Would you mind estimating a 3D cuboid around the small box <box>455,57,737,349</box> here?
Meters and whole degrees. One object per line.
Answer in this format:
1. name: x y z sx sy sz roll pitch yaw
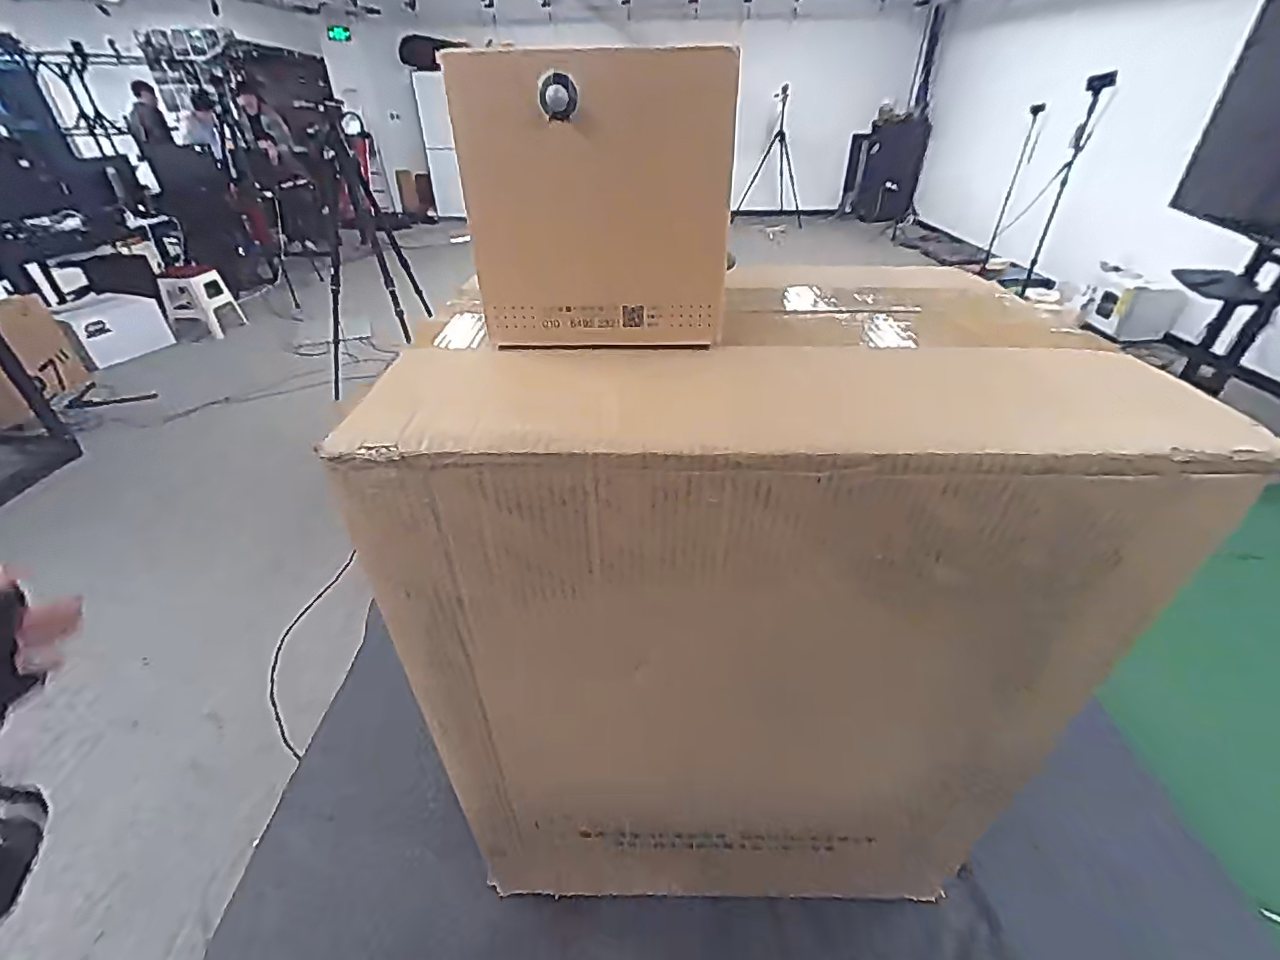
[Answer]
1. small box: -0.023 -0.210 0.417 0.168 0.176 0.179 0 33 2
